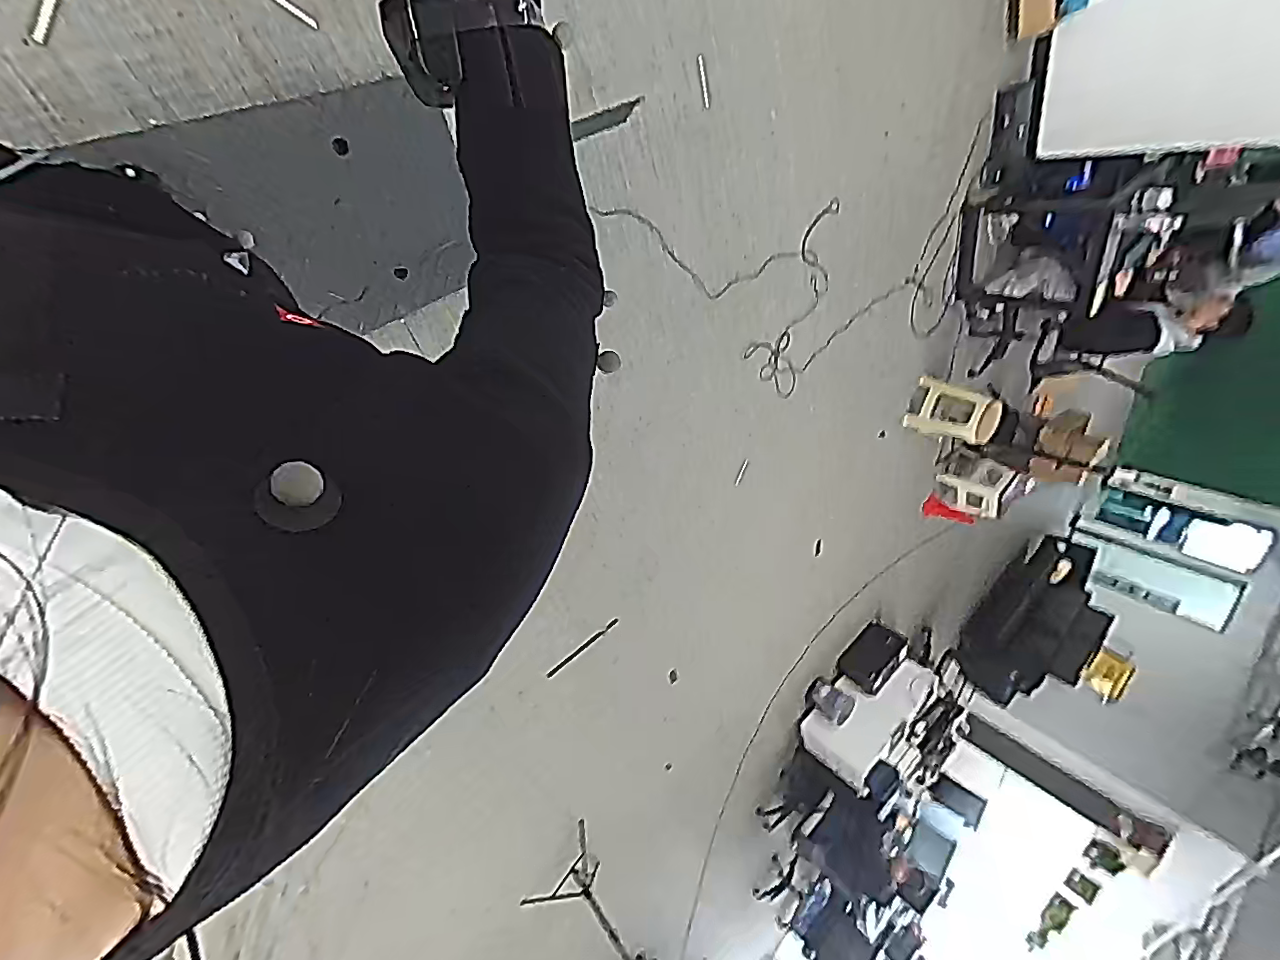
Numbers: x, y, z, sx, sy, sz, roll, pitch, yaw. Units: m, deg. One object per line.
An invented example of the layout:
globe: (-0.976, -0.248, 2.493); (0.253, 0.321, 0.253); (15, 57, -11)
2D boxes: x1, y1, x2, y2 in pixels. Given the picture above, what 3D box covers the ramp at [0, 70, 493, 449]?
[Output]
ramp: (-0.802, -0.535, 1.205); (0.991, 0.206, 0.509); (-37, 129, -23)
